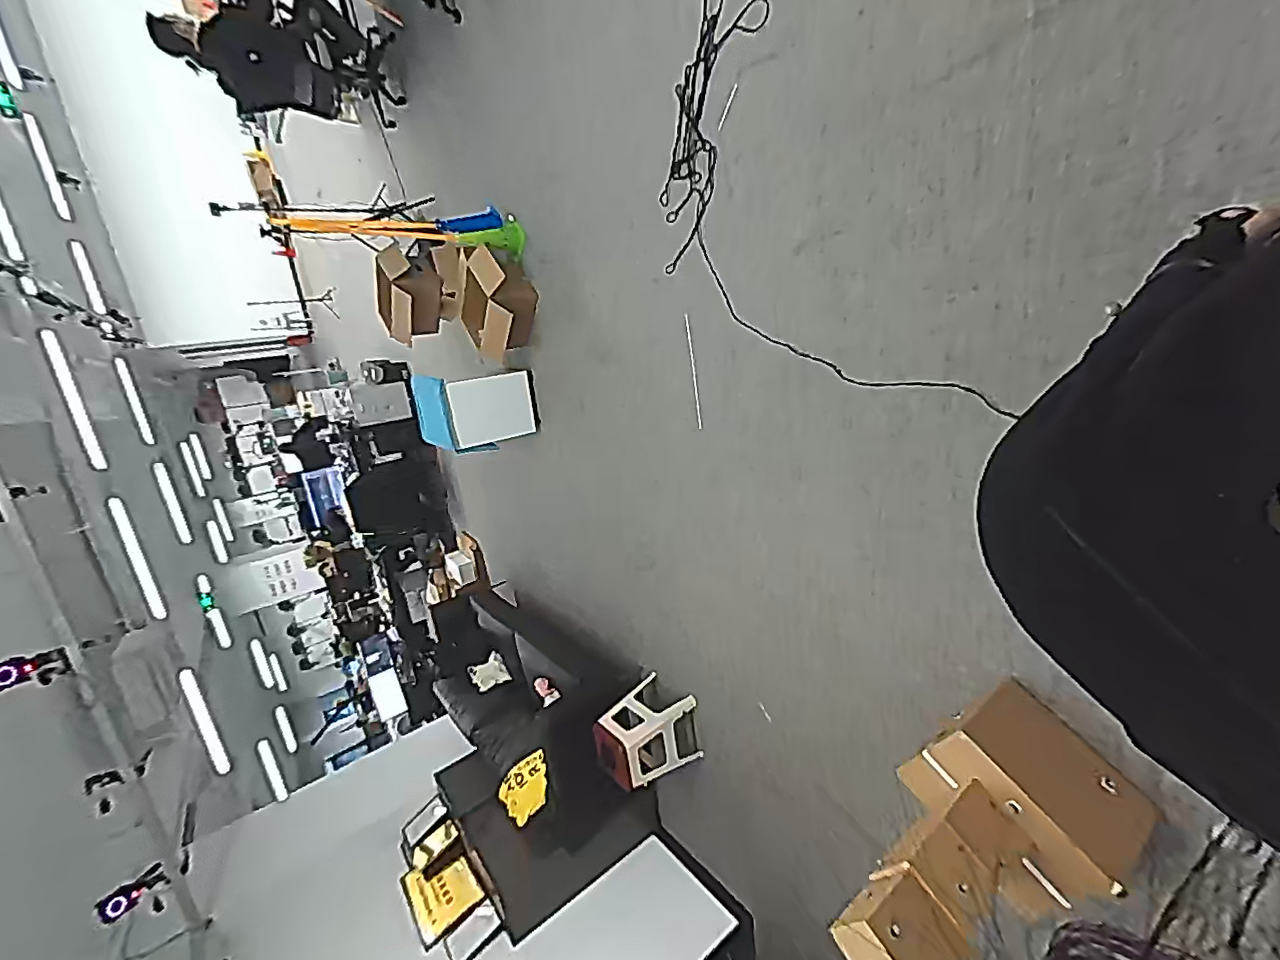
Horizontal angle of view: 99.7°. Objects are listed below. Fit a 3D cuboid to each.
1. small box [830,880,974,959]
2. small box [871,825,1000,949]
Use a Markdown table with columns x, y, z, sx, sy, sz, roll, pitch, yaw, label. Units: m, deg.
| x | y | z | sx | sy | sz | roll | pitch | yaw | label |
| --- | --- | --- | --- | --- | --- | --- | --- | --- | --- |
| 0.548 | 0.982 | 1.137 | 0.179 | 0.176 | 0.168 | 50 | 142 | 29 | small box |
| 0.674 | 0.928 | 1.229 | 0.168 | 0.176 | 0.179 | 49 | 141 | 31 | small box |
